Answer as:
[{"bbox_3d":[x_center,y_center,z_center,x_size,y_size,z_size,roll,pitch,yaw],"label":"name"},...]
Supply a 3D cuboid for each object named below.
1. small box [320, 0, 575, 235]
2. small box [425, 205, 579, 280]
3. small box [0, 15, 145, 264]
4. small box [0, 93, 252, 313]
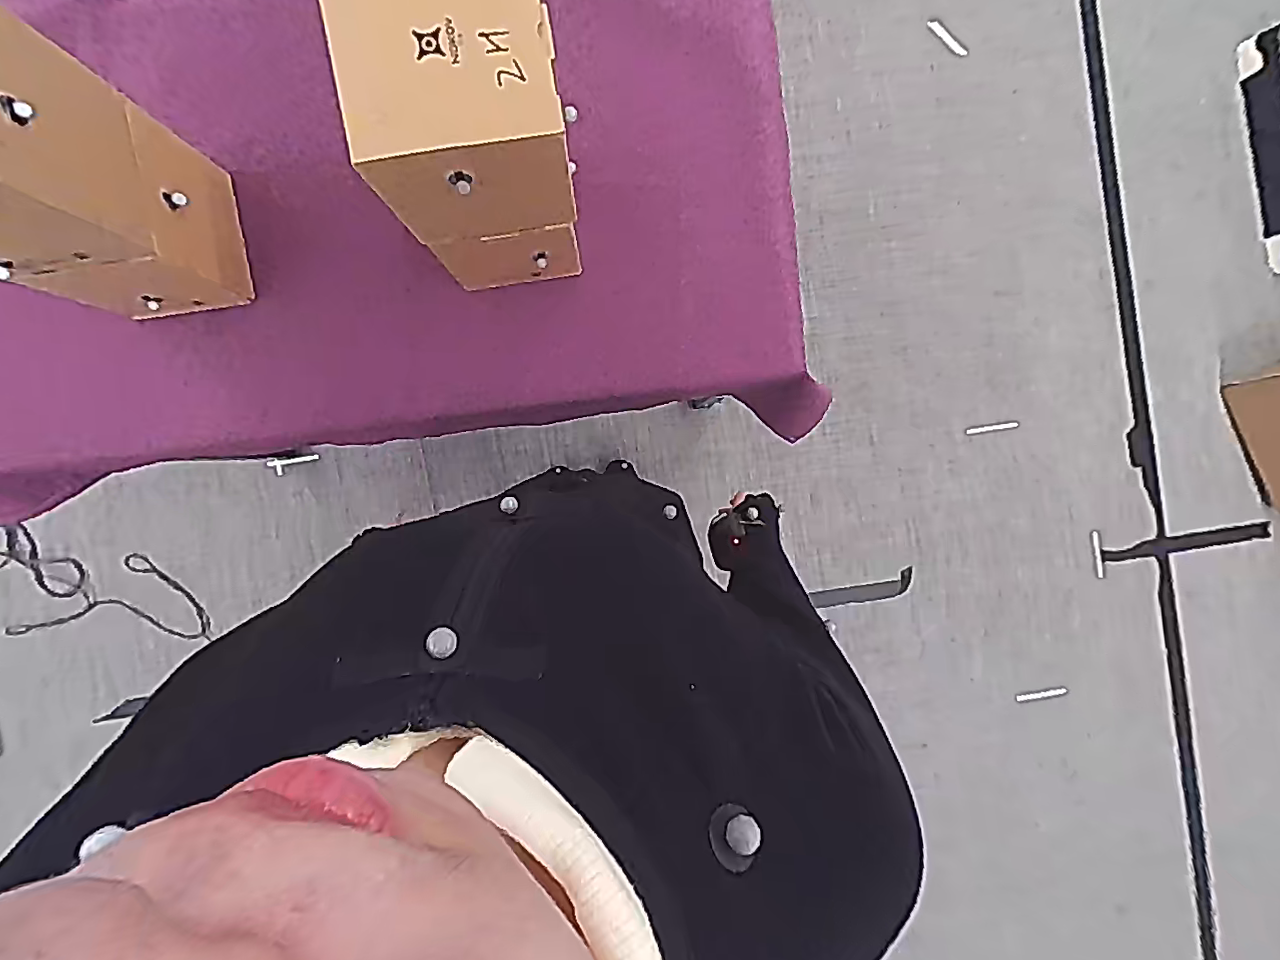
[{"bbox_3d":[-0.164,-0.352,0.511,0.179,0.176,0.168,-10,94,-3],"label":"small box"},{"bbox_3d":[-0.172,-0.363,0.675,0.168,0.176,0.179,-9,93,-3],"label":"small box"},{"bbox_3d":[-0.612,-0.313,0.492,0.168,0.176,0.179,-11,93,-3],"label":"small box"},{"bbox_3d":[-0.619,-0.320,0.656,0.168,0.176,0.179,-10,94,-3],"label":"small box"}]
